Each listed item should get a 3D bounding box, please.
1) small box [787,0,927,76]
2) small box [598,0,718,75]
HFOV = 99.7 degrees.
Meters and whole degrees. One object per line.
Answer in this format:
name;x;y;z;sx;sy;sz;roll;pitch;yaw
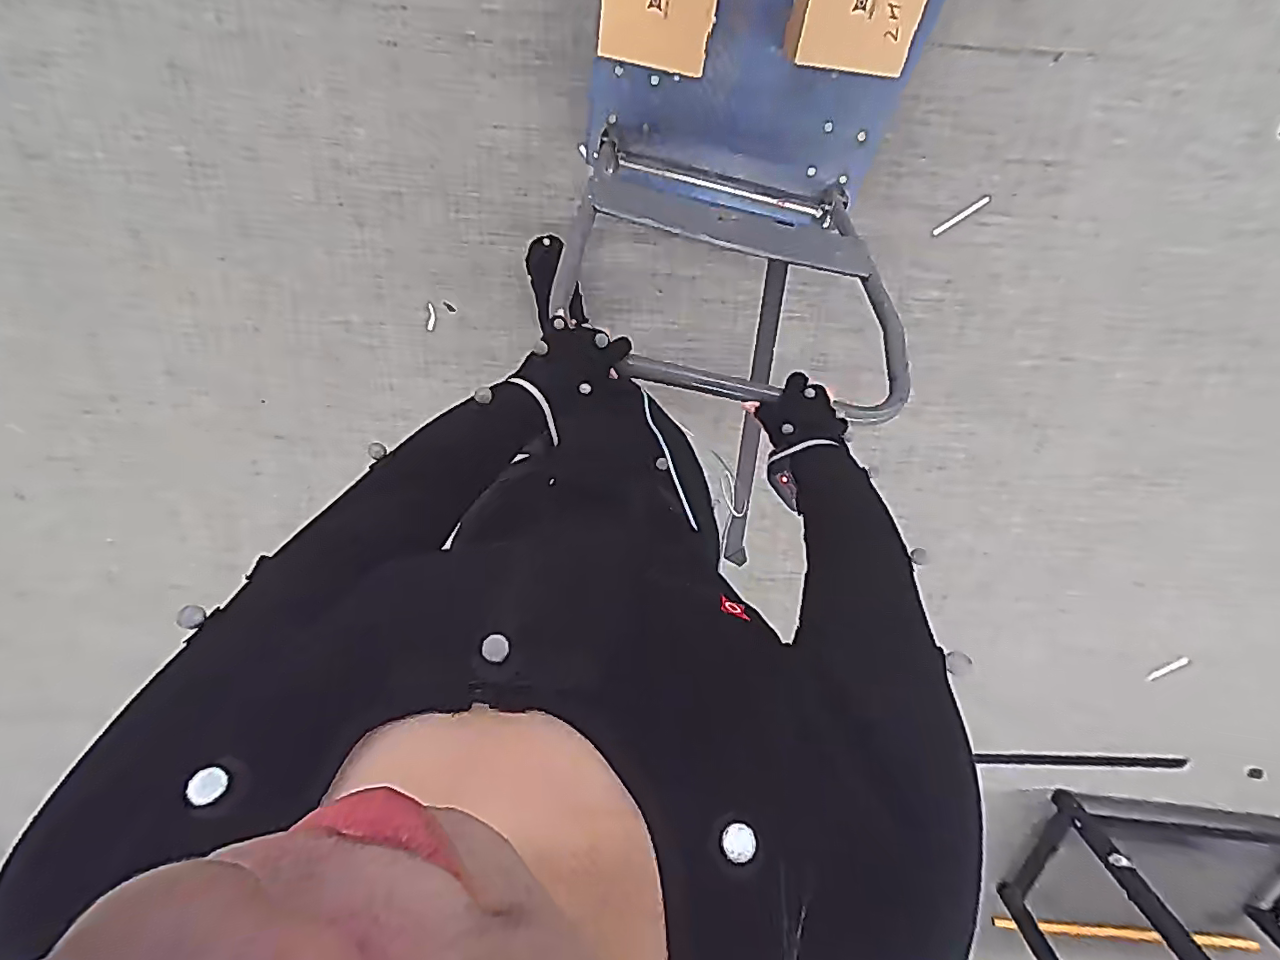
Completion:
small box;0.347;-0.771;0.867;0.179;0.176;0.168;8;134;-1
small box;0.035;-0.788;0.882;0.179;0.176;0.168;8;134;-5
